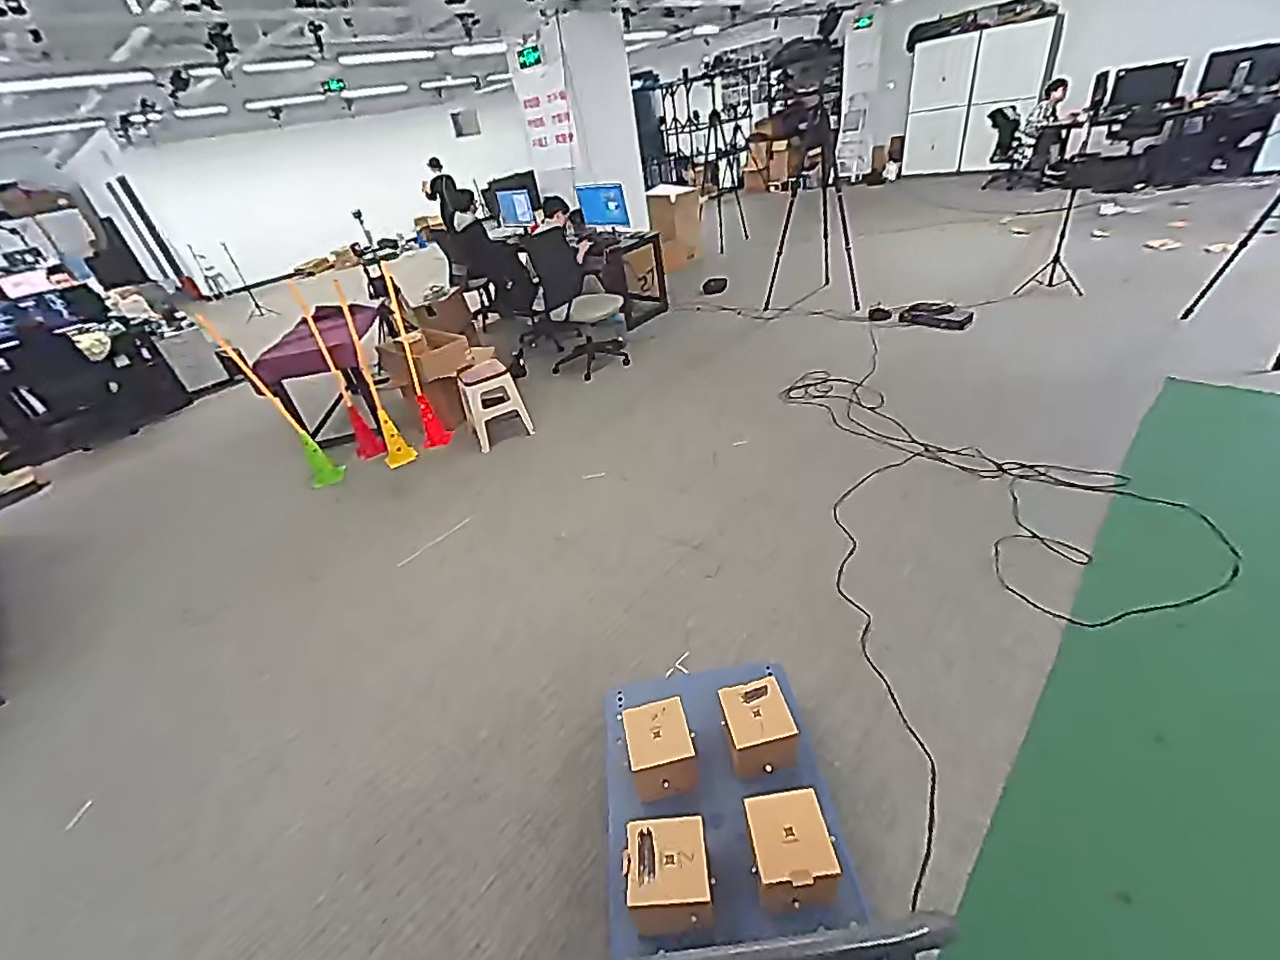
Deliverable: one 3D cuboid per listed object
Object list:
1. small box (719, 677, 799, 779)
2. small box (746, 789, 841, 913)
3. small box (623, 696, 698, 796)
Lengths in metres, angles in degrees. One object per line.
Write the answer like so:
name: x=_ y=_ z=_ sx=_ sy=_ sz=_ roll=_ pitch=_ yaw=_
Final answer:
small box: x=0.319 y=0.673 z=1.470 sx=0.168 sy=0.176 sz=0.179 roll=-13 pitch=35 yaw=-3
small box: x=0.339 y=0.840 z=1.226 sx=0.168 sy=0.176 sz=0.179 roll=-9 pitch=35 yaw=1
small box: x=0.056 y=0.725 z=1.463 sx=0.168 sy=0.176 sz=0.179 roll=-12 pitch=34 yaw=-4
